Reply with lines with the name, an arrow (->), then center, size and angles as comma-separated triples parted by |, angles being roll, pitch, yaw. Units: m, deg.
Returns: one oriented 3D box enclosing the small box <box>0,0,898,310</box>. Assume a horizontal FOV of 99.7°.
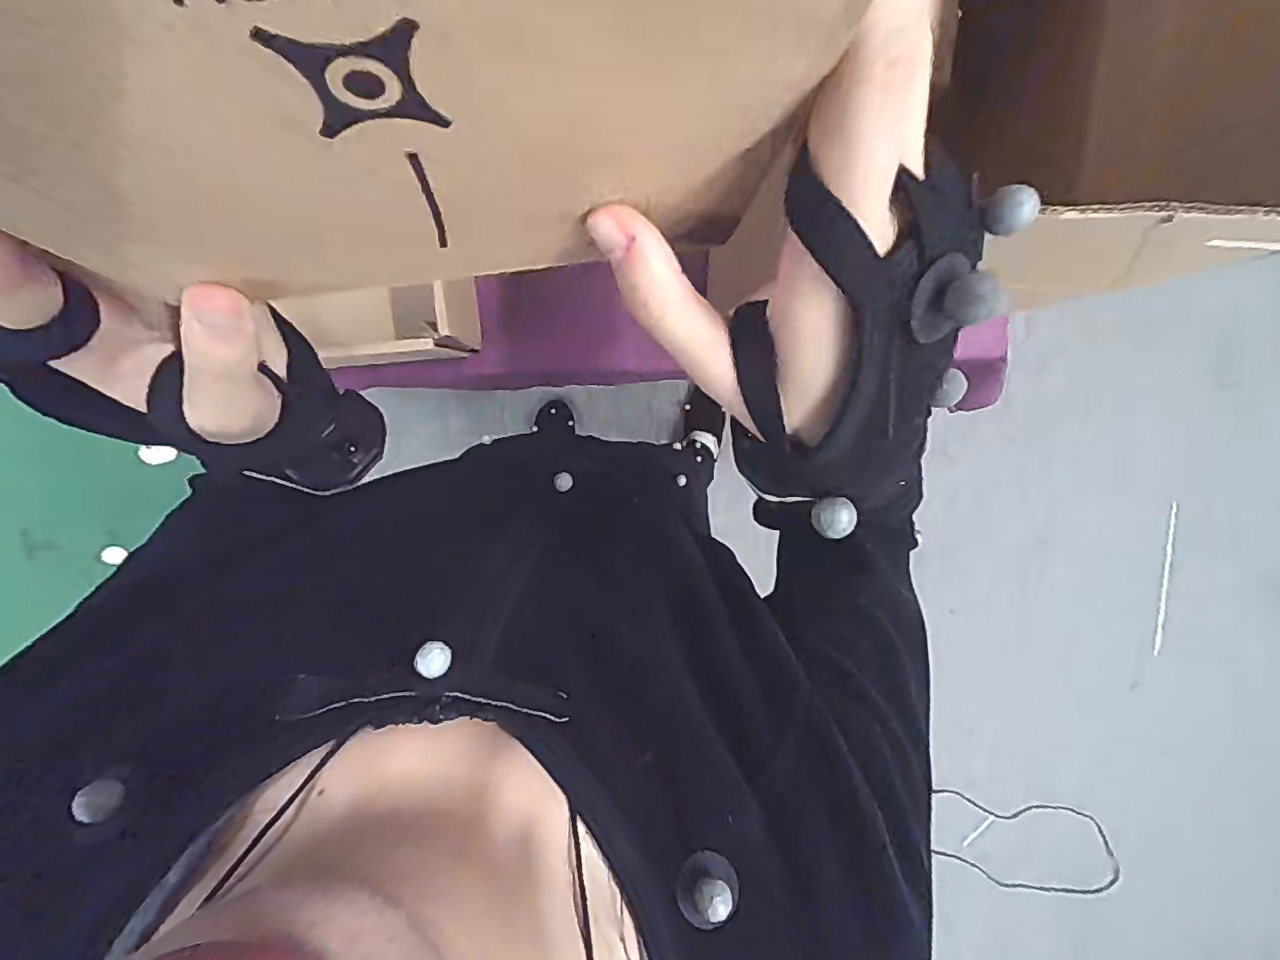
small box -> -0.052, -0.146, 0.085 | 0.168, 0.179, 0.176 | -9, 91, -6
